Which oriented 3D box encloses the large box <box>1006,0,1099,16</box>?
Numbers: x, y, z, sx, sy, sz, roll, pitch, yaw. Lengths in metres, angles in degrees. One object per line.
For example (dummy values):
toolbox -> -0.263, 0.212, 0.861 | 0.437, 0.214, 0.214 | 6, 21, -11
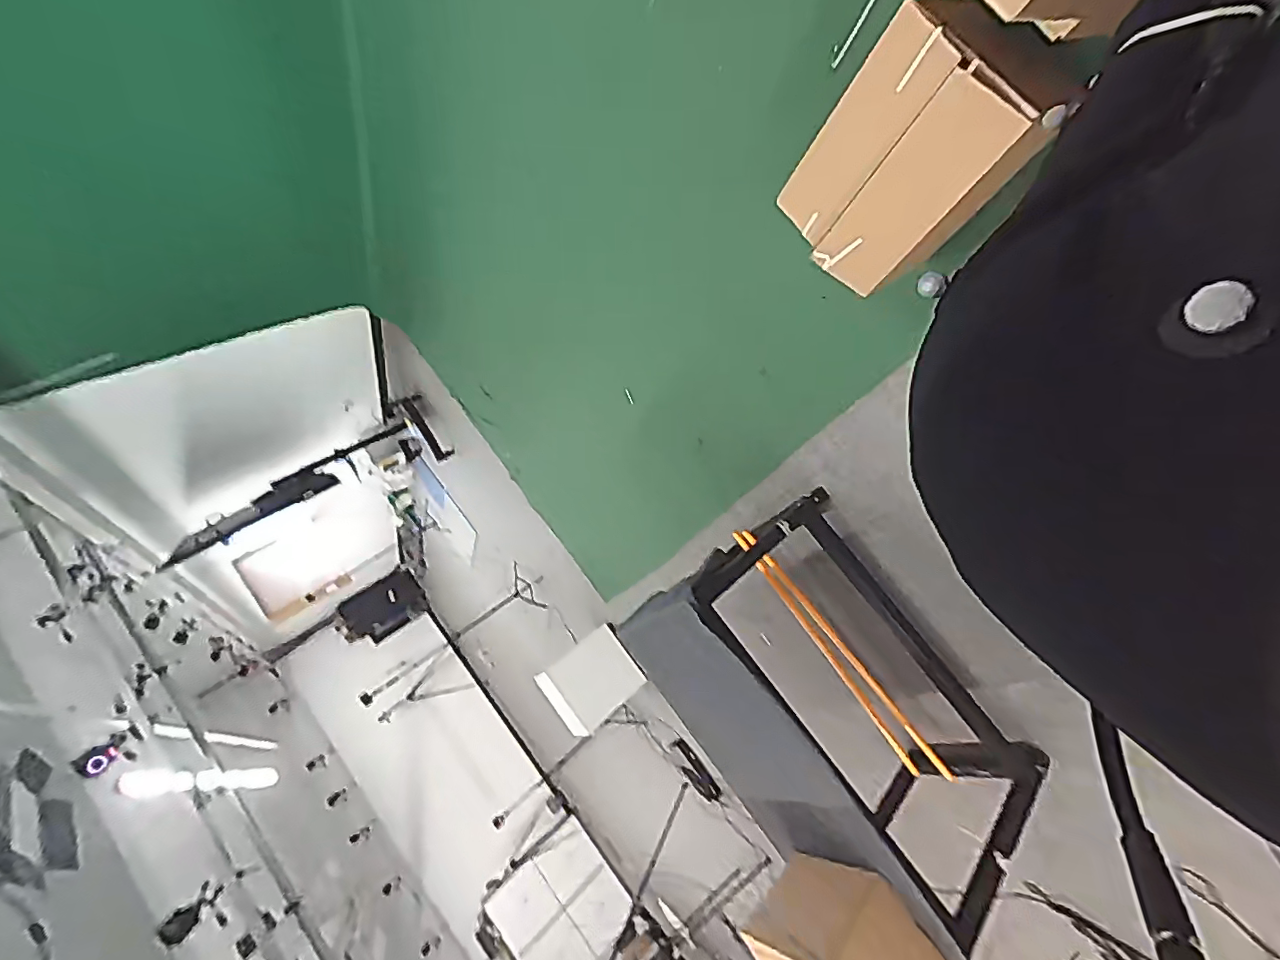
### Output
large box -> 0.516, -0.800, 0.554 | 0.320, 0.320, 0.408 | 52, 146, 6
